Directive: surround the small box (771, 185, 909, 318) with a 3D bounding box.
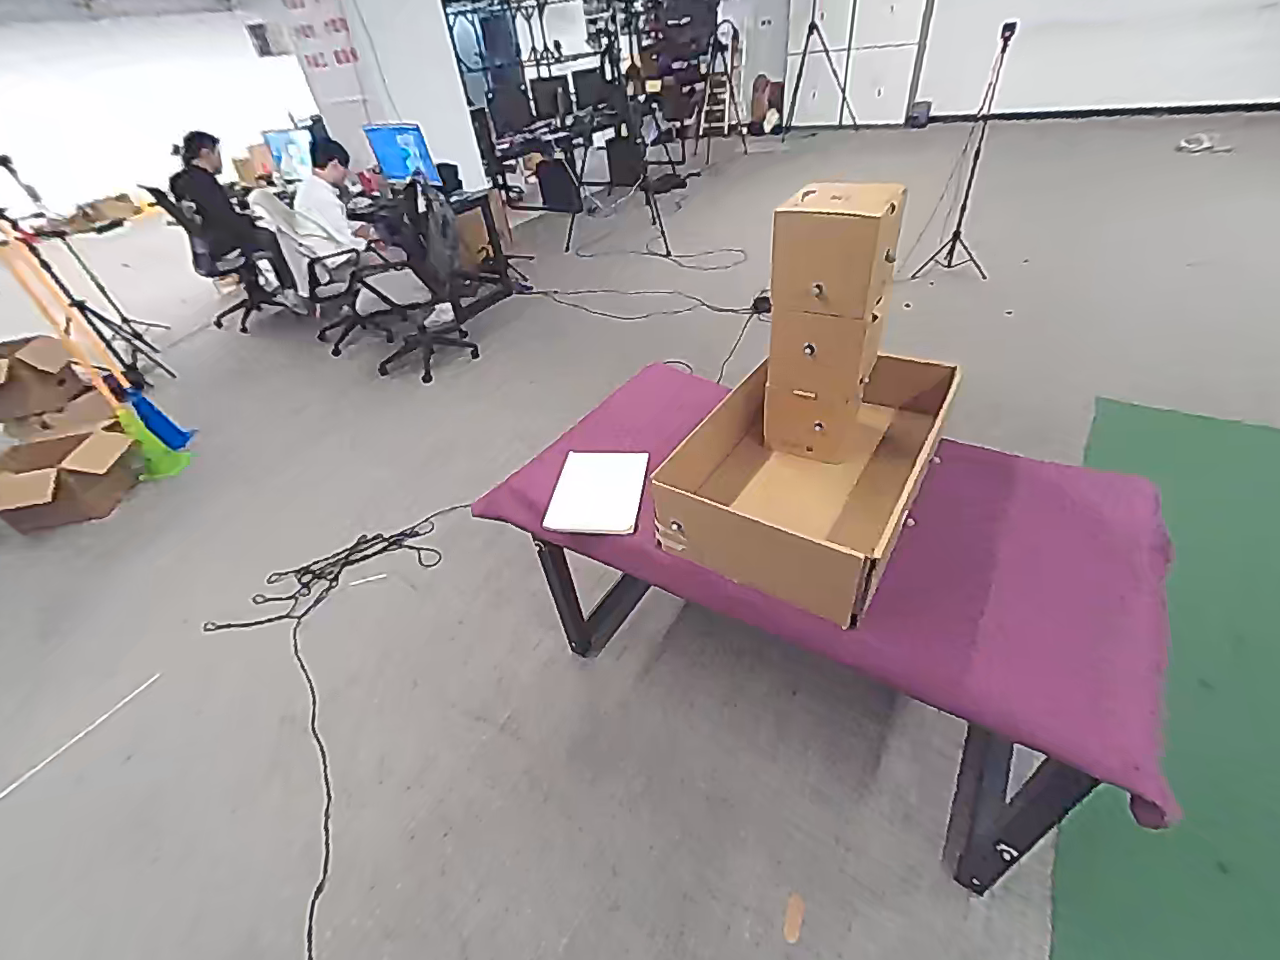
[{"bbox_3d":[0.349,-0.405,0.961,0.179,0.176,0.168,20,48,28],"label":"small box"}]

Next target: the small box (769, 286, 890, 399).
[{"bbox_3d":[0.367,-0.278,1.063,0.179,0.176,0.168,17,46,28],"label":"small box"}]
